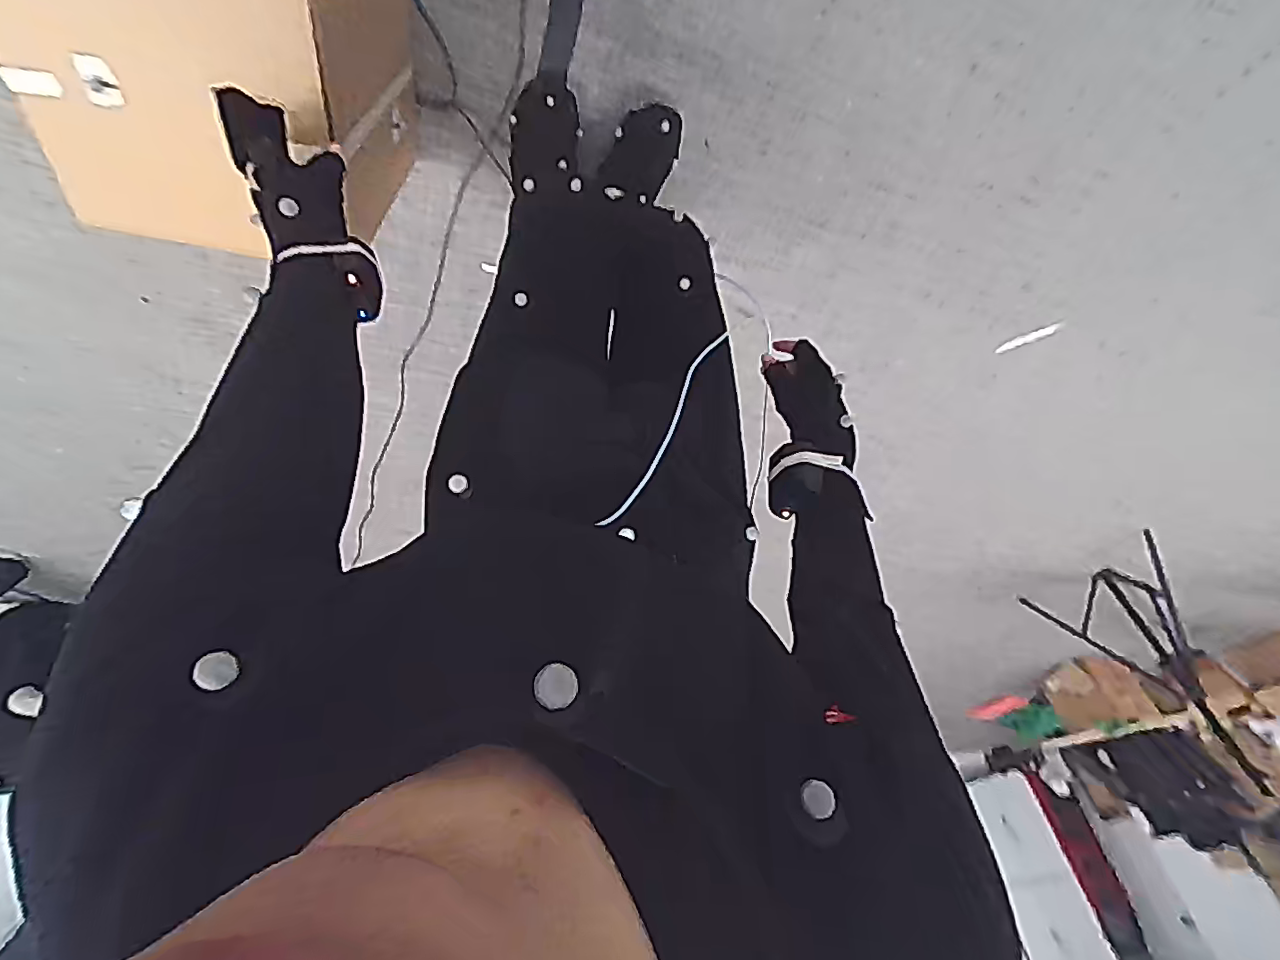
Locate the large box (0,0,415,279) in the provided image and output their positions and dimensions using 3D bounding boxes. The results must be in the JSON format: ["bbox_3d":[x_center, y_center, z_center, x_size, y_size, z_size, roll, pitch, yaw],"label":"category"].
[{"bbox_3d":[-0.519,-0.540,0.733,0.320,0.408,0.320,8,139,-14],"label":"large box"}]
